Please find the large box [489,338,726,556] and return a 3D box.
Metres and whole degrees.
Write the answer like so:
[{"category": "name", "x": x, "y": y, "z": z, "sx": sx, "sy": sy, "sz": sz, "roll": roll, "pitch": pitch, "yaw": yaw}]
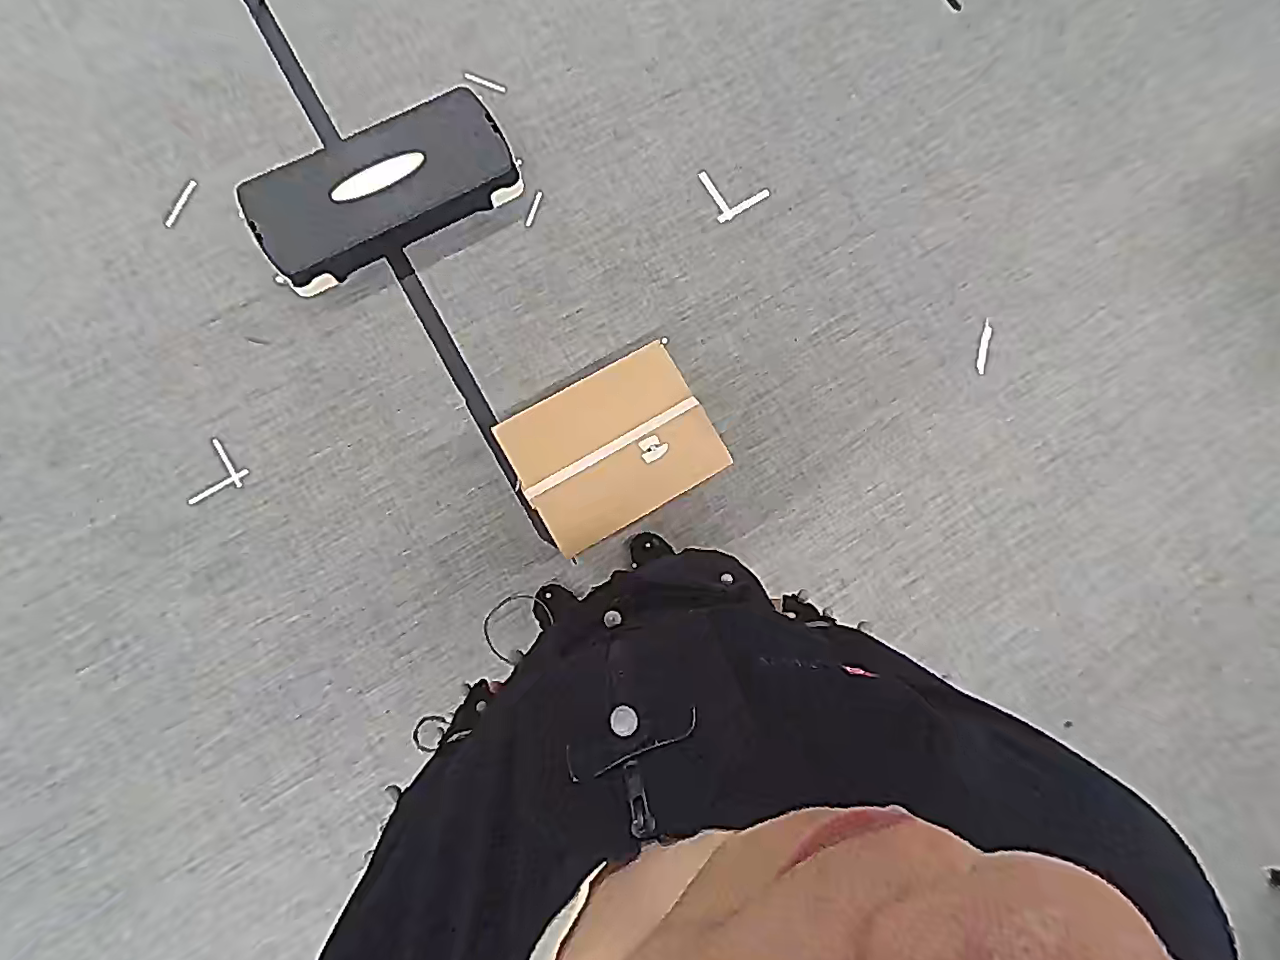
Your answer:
[{"category": "large box", "x": -0.078, "y": -0.054, "z": 1.254, "sx": 0.408, "sy": 0.320, "sz": 0.320, "roll": -30, "pitch": 87, "yaw": -9}]
